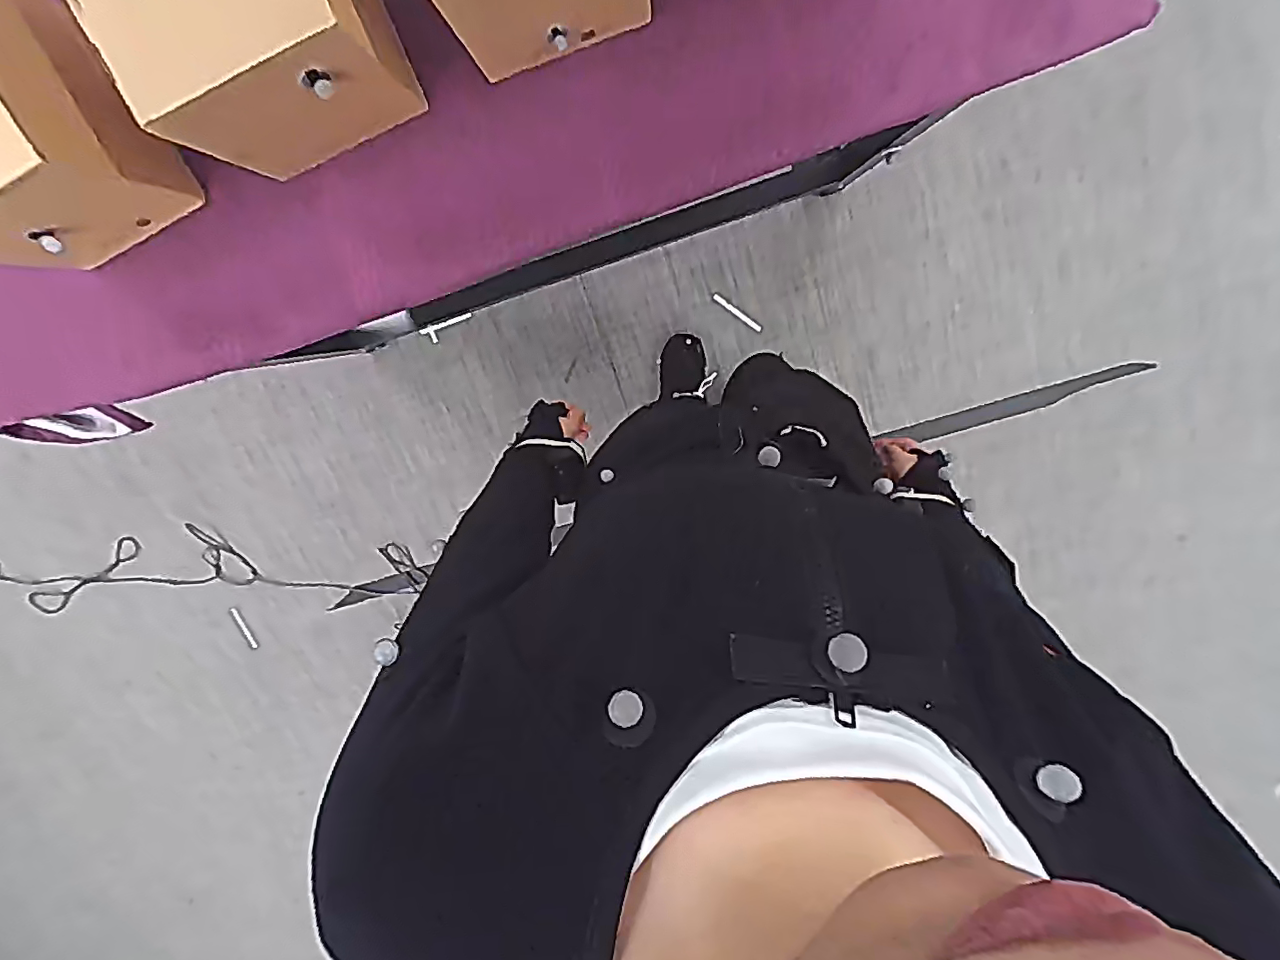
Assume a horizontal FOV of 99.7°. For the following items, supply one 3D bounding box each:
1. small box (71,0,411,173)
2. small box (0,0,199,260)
[{"bbox_3d":[-0.320,-0.390,0.449,0.179,0.176,0.168,-21,104,8],"label":"small box"},{"bbox_3d":[-0.562,-0.312,0.482,0.168,0.176,0.179,-24,104,8],"label":"small box"}]
